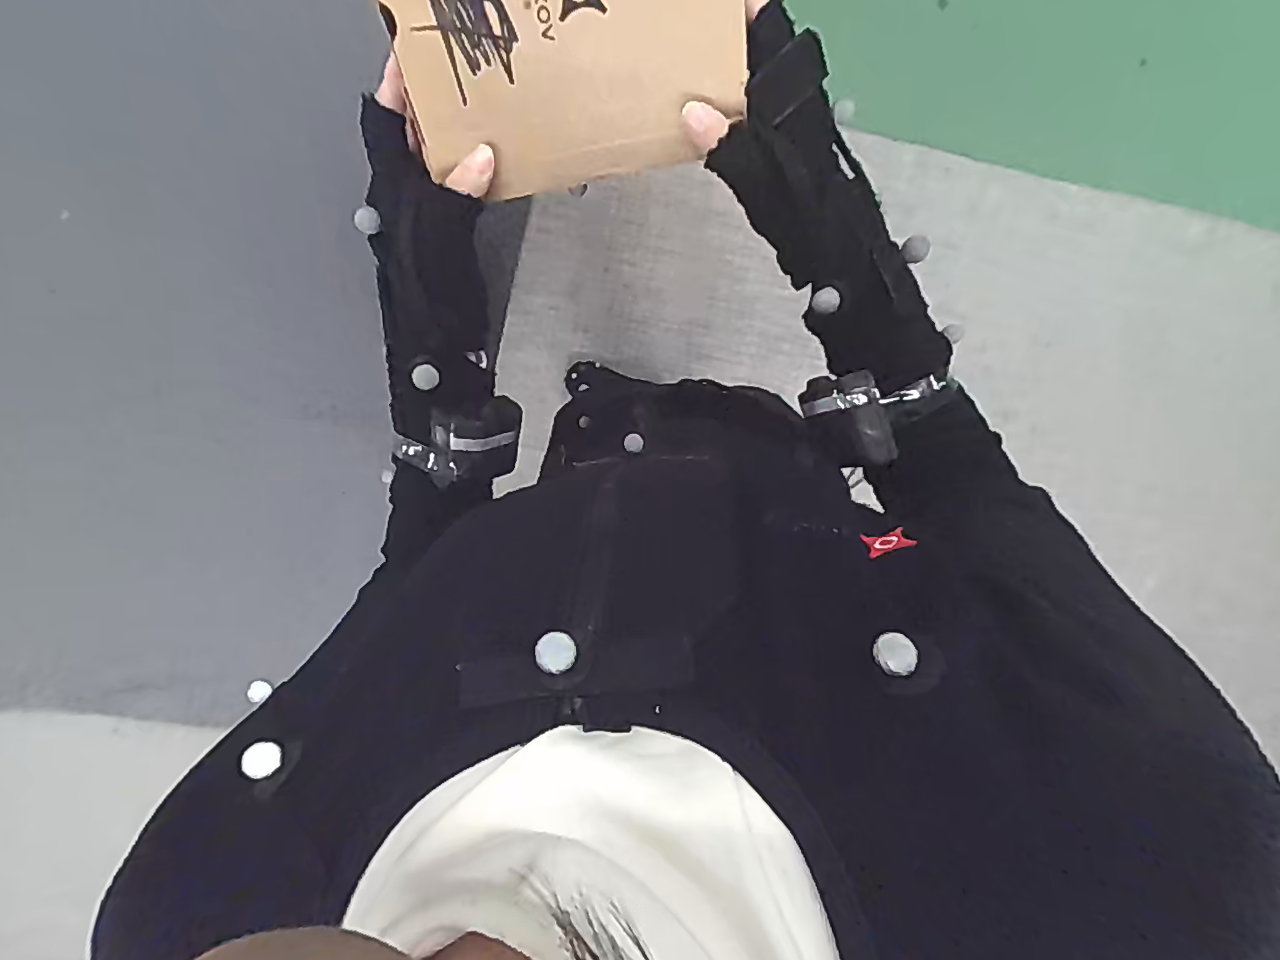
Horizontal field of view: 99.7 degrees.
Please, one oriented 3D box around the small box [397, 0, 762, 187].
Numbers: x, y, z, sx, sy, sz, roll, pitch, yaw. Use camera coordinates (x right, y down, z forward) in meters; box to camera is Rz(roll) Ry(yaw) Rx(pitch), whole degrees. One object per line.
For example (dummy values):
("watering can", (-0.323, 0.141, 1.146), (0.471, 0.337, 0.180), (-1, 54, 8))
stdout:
("small box", (-0.035, -0.287, 0.314), (0.179, 0.176, 0.168), (-9, 130, 1))
